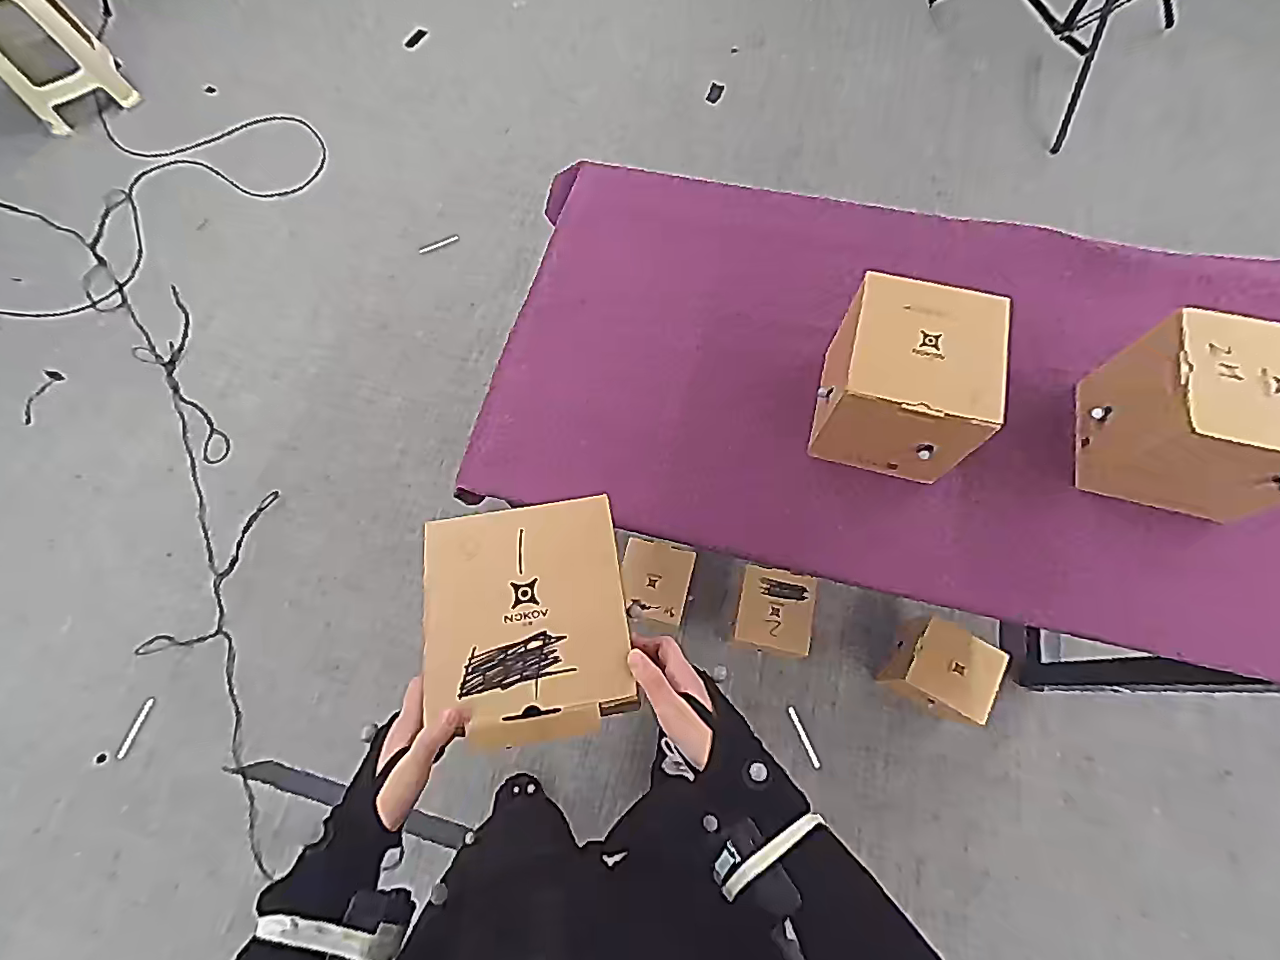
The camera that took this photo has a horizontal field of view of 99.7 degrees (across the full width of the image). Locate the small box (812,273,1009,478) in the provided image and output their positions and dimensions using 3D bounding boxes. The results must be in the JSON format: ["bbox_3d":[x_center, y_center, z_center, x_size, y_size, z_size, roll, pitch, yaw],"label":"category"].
[{"bbox_3d":[0.327,-0.122,0.679,0.168,0.176,0.179,14,68,7],"label":"small box"}]

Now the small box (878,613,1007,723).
[{"bbox_3d":[0.682,0.427,1.237,0.179,0.176,0.168,29,73,13],"label":"small box"}]

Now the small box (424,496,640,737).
[{"bbox_3d":[-0.093,0.137,0.517,0.168,0.176,0.179,-9,64,-4],"label":"small box"}]

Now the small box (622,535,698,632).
[{"bbox_3d":[0.036,0.259,1.327,0.168,0.176,0.179,15,69,8],"label":"small box"}]

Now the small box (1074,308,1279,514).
[{"bbox_3d":[0.670,-0.071,0.644,0.179,0.176,0.168,14,70,8],"label":"small box"}]
